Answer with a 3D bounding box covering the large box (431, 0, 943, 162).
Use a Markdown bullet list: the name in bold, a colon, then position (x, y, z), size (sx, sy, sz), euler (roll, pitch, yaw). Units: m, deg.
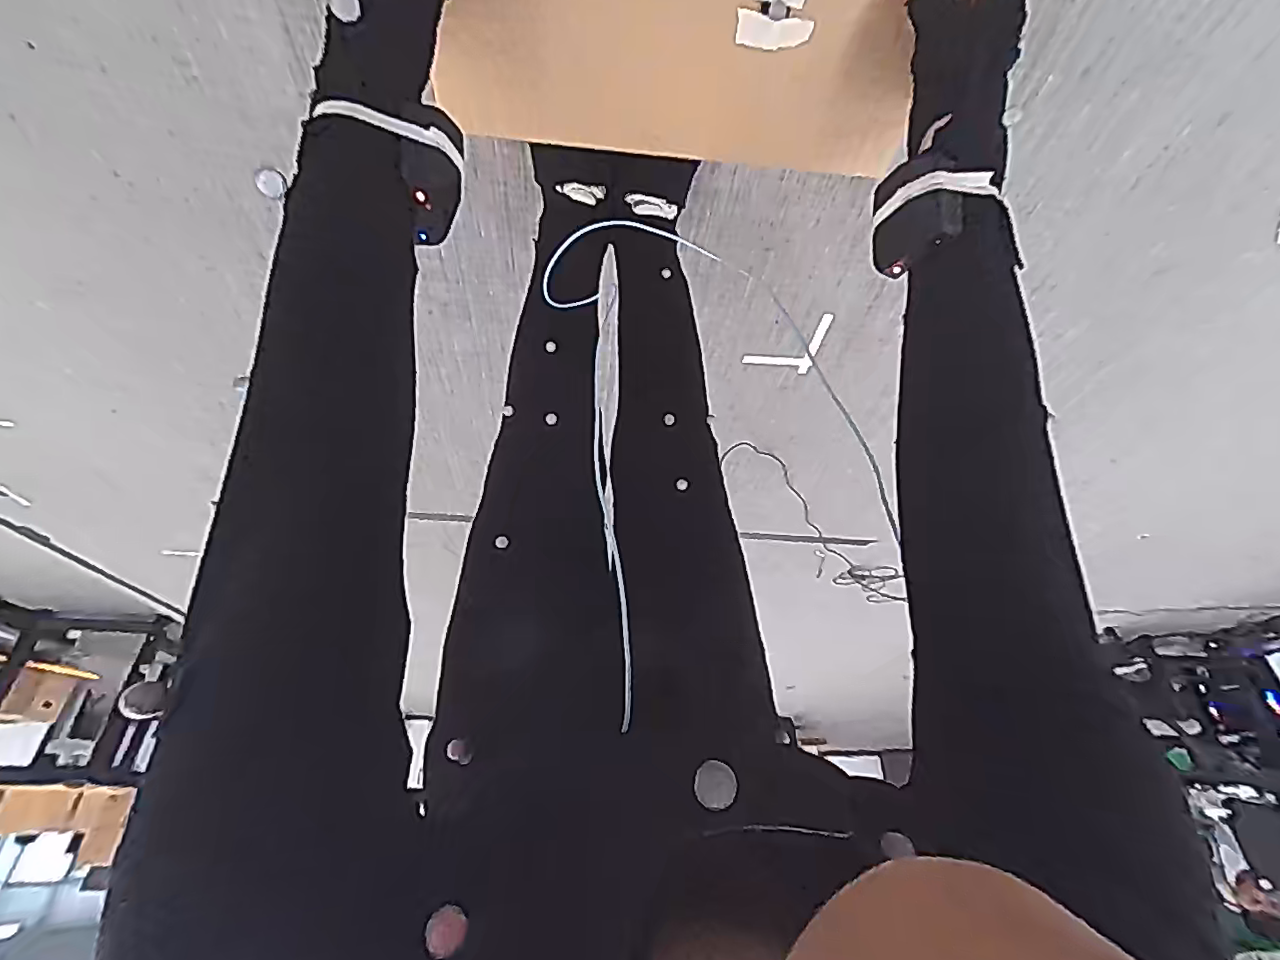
- **large box**: position (0.039, -0.520, 0.466), size (0.408, 0.320, 0.320), euler (3, 144, -5)
